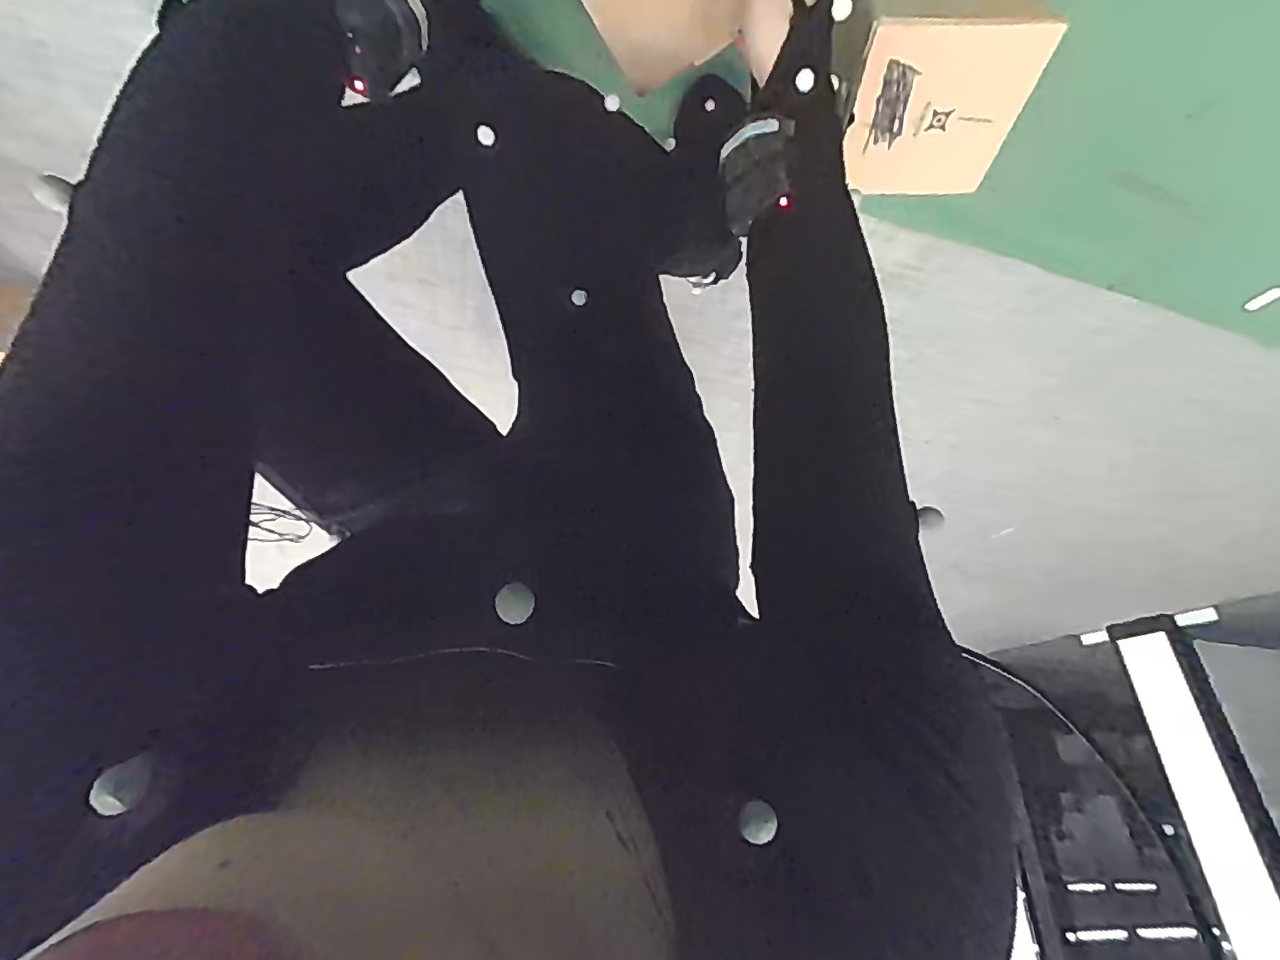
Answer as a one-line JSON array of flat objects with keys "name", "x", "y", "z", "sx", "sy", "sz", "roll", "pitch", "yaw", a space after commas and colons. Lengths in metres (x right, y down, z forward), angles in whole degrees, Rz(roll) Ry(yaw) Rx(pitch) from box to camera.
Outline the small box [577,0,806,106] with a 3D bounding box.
[{"name": "small box", "x": 0.029, "y": -0.476, "z": 0.449, "sx": 0.168, "sy": 0.176, "sz": 0.179, "roll": -13, "pitch": 146, "yaw": 30}]

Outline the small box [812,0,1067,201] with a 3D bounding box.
[{"name": "small box", "x": 0.303, "y": -0.438, "z": 0.597, "sx": 0.179, "sy": 0.176, "sz": 0.168, "roll": 1, "pitch": 152, "yaw": 1}]
